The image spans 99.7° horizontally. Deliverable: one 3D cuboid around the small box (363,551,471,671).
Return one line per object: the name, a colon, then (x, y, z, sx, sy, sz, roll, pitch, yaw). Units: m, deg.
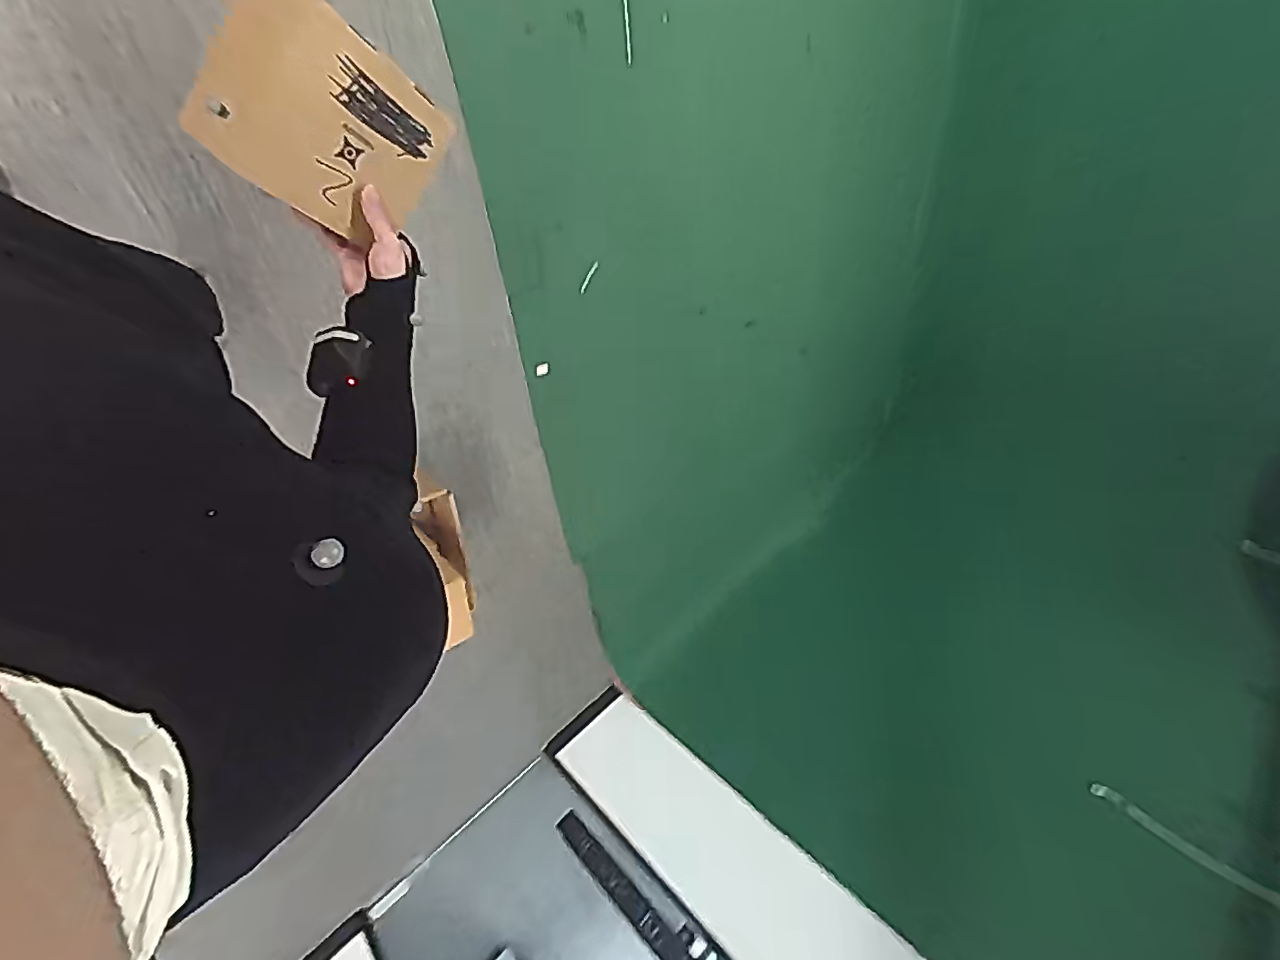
small box: (-0.512, 0.294, 1.246, 0.168, 0.176, 0.179, -23, 125, -36)

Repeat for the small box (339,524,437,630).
small box: (-0.620, 0.233, 1.353, 0.179, 0.176, 0.168, -21, 124, -37)
